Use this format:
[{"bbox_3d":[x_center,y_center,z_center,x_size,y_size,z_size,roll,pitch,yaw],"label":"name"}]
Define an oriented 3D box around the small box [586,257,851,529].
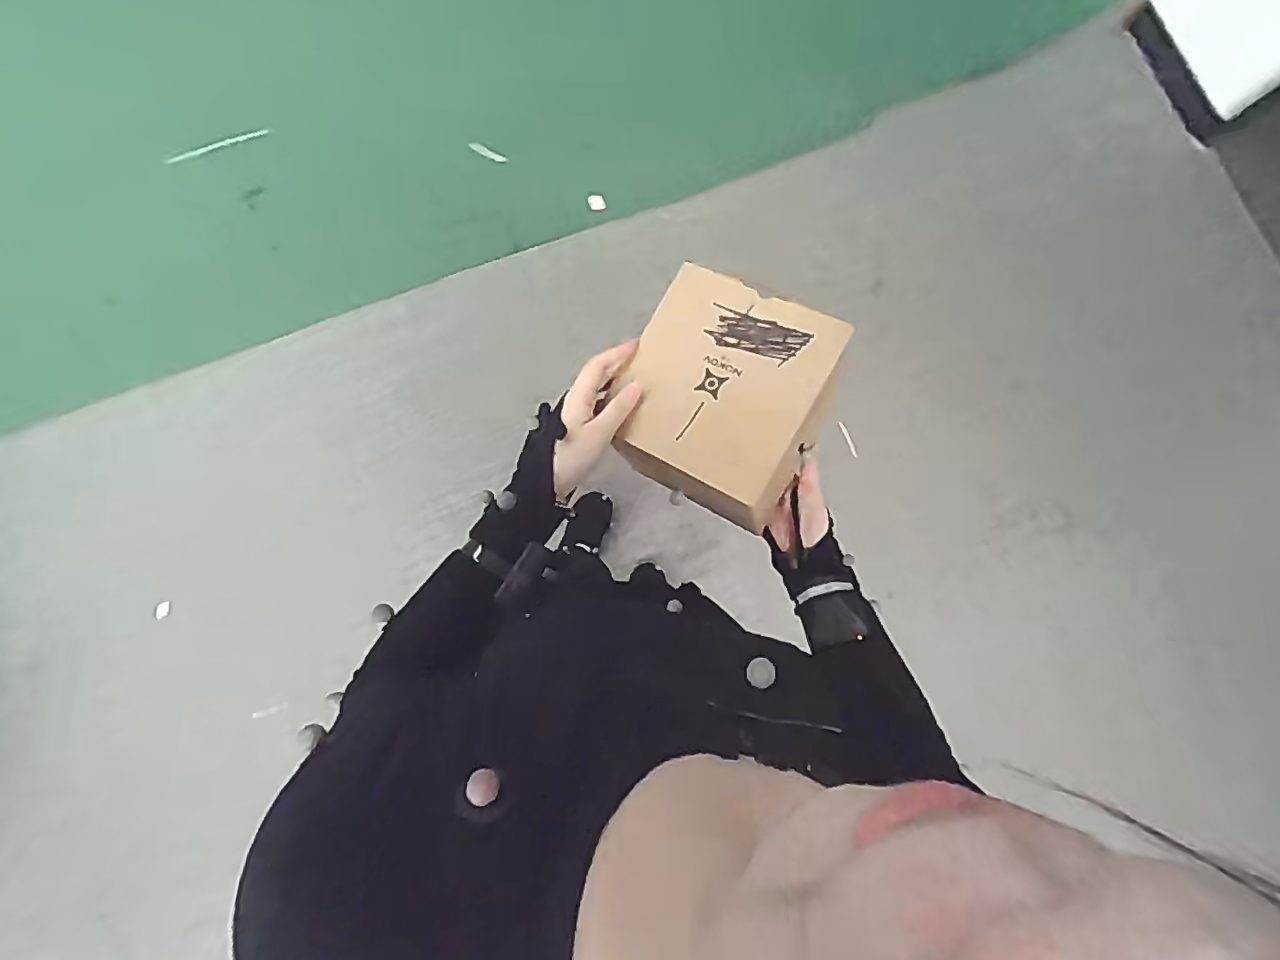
[{"bbox_3d":[0.078,-0.072,0.526,0.168,0.176,0.179,28,85,18],"label":"small box"}]
